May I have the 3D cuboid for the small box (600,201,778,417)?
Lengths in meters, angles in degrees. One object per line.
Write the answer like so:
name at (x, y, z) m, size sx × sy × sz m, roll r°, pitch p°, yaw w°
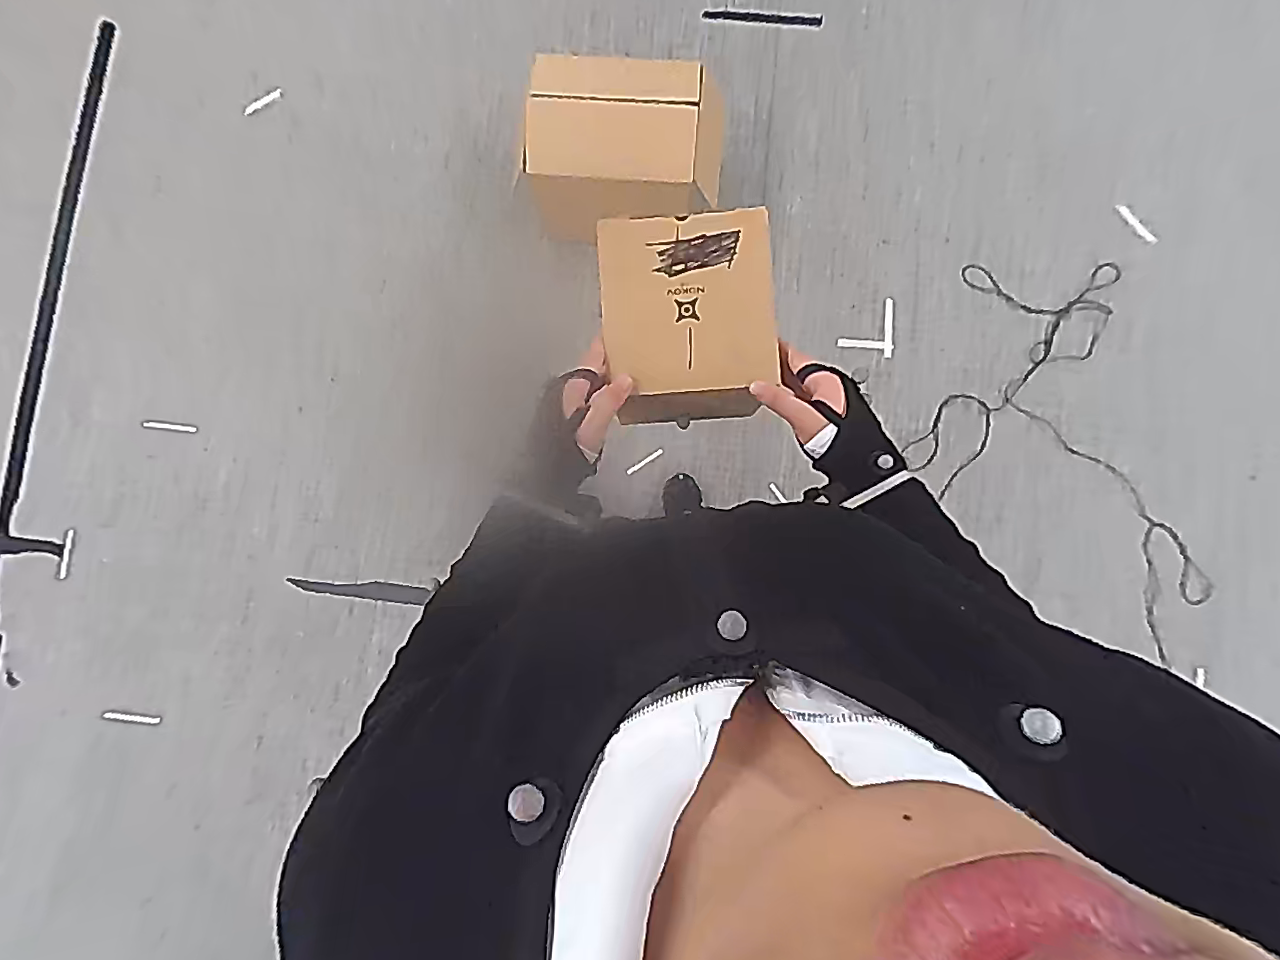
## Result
small box at (0.047, -0.173, 0.595) m, size 0.168 × 0.176 × 0.179 m, roll -4°, pitch 87°, yaw 2°
